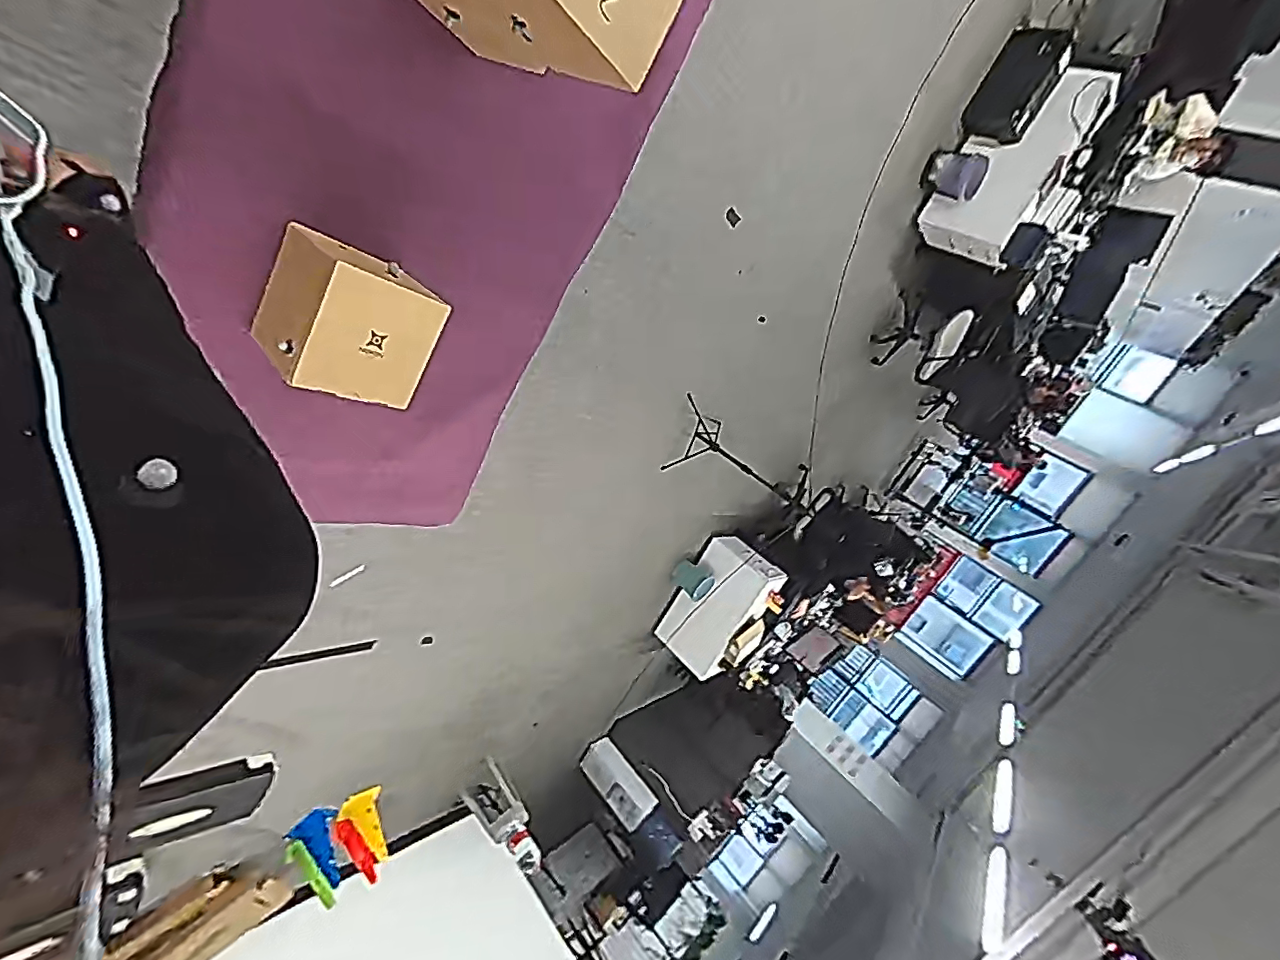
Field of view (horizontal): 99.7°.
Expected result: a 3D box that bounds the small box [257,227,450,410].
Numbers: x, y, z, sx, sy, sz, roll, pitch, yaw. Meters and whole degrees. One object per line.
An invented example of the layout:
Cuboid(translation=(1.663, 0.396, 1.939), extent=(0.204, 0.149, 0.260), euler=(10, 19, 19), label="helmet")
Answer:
Cuboid(translation=(-0.414, -0.229, 0.775), extent=(0.168, 0.176, 0.179), euler=(8, 117, -56), label="small box")

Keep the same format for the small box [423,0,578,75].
Cuboid(translation=(-0.179, -0.635, 0.639), extent=(0.168, 0.176, 0.179), euler=(10, 116, -56), label="small box")
